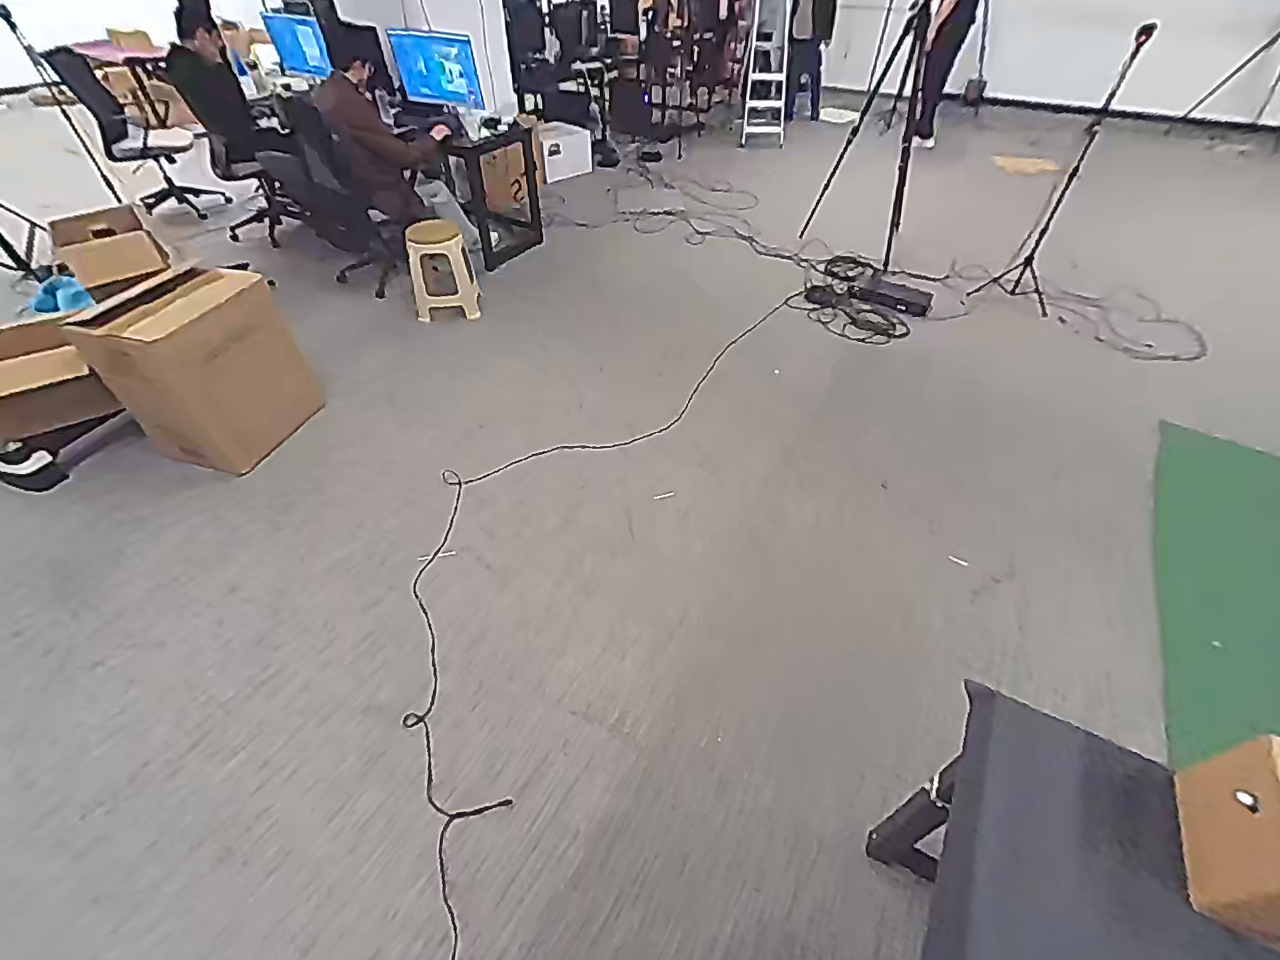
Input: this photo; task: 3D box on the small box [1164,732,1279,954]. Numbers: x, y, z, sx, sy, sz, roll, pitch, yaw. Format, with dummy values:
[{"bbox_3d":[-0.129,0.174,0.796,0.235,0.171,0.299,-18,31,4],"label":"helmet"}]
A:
[{"bbox_3d":[0.797,0.455,0.660,0.168,0.176,0.179,21,48,18],"label":"small box"}]
